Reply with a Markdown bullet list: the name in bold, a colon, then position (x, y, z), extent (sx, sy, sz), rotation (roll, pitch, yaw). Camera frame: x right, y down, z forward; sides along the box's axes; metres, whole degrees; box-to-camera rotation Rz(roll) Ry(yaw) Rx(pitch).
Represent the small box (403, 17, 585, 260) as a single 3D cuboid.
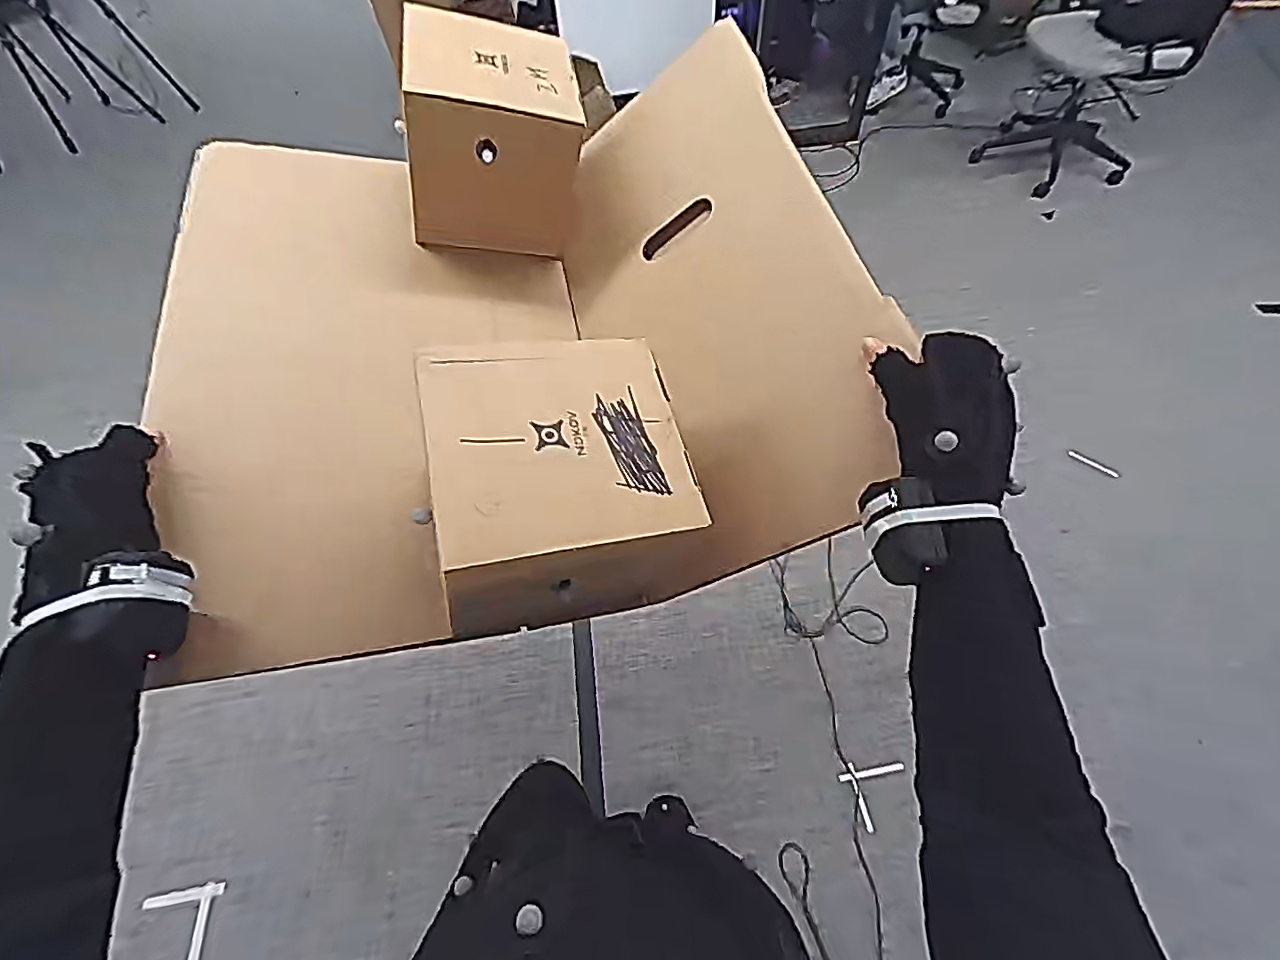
- **small box**: position (-0.171, -0.382, 0.630), extent (0.179, 0.176, 0.168), rotation (-1, 62, -19)
